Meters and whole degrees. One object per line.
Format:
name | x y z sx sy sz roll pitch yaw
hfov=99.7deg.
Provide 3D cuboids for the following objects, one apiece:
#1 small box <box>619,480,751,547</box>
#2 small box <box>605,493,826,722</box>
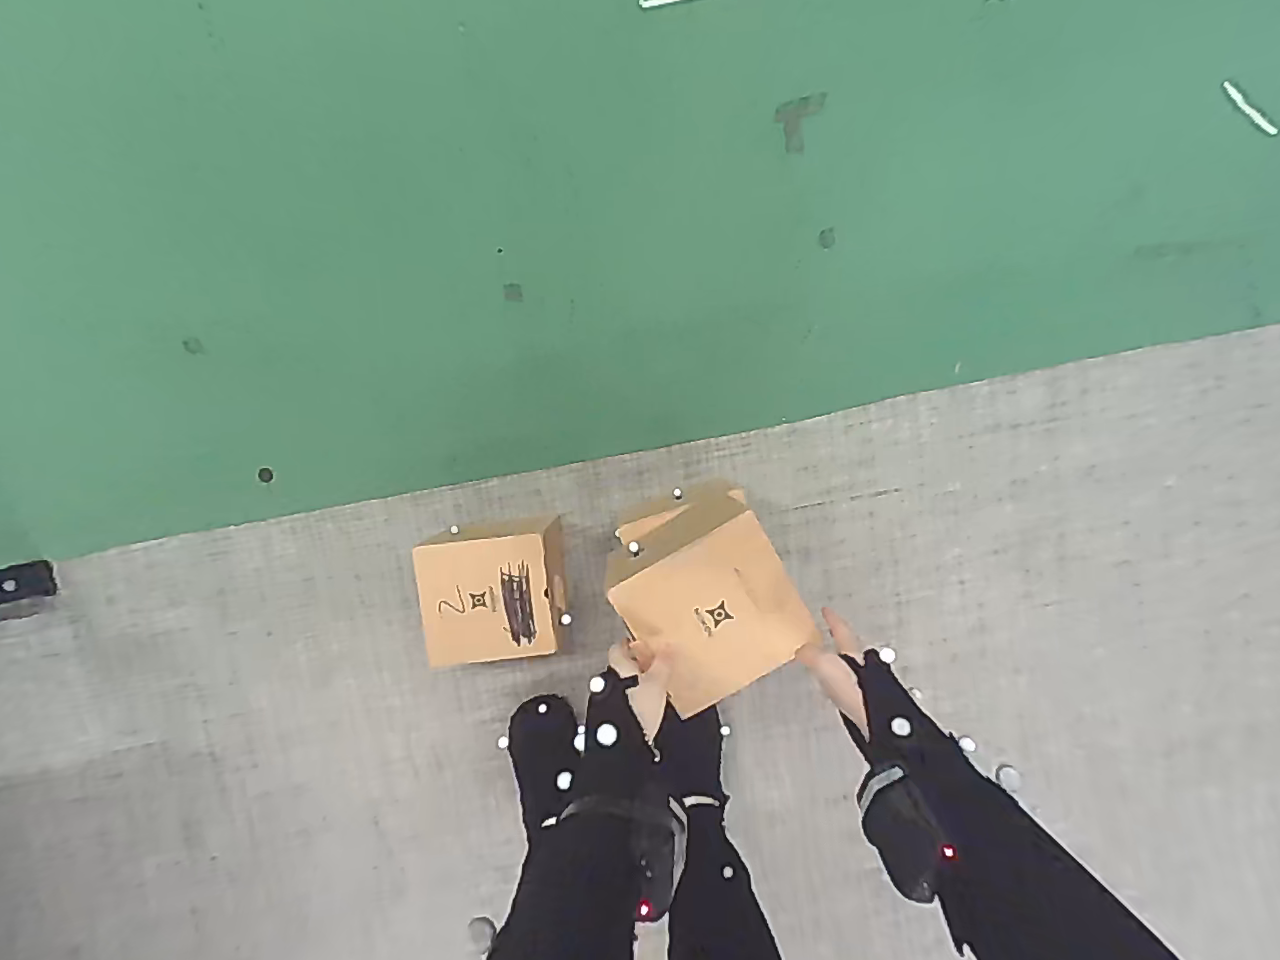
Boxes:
small box | 0.077 0.105 0.788 0.179 0.176 0.168 -18 96 -1
small box | 0.076 0.132 0.627 0.179 0.176 0.168 -31 97 0
